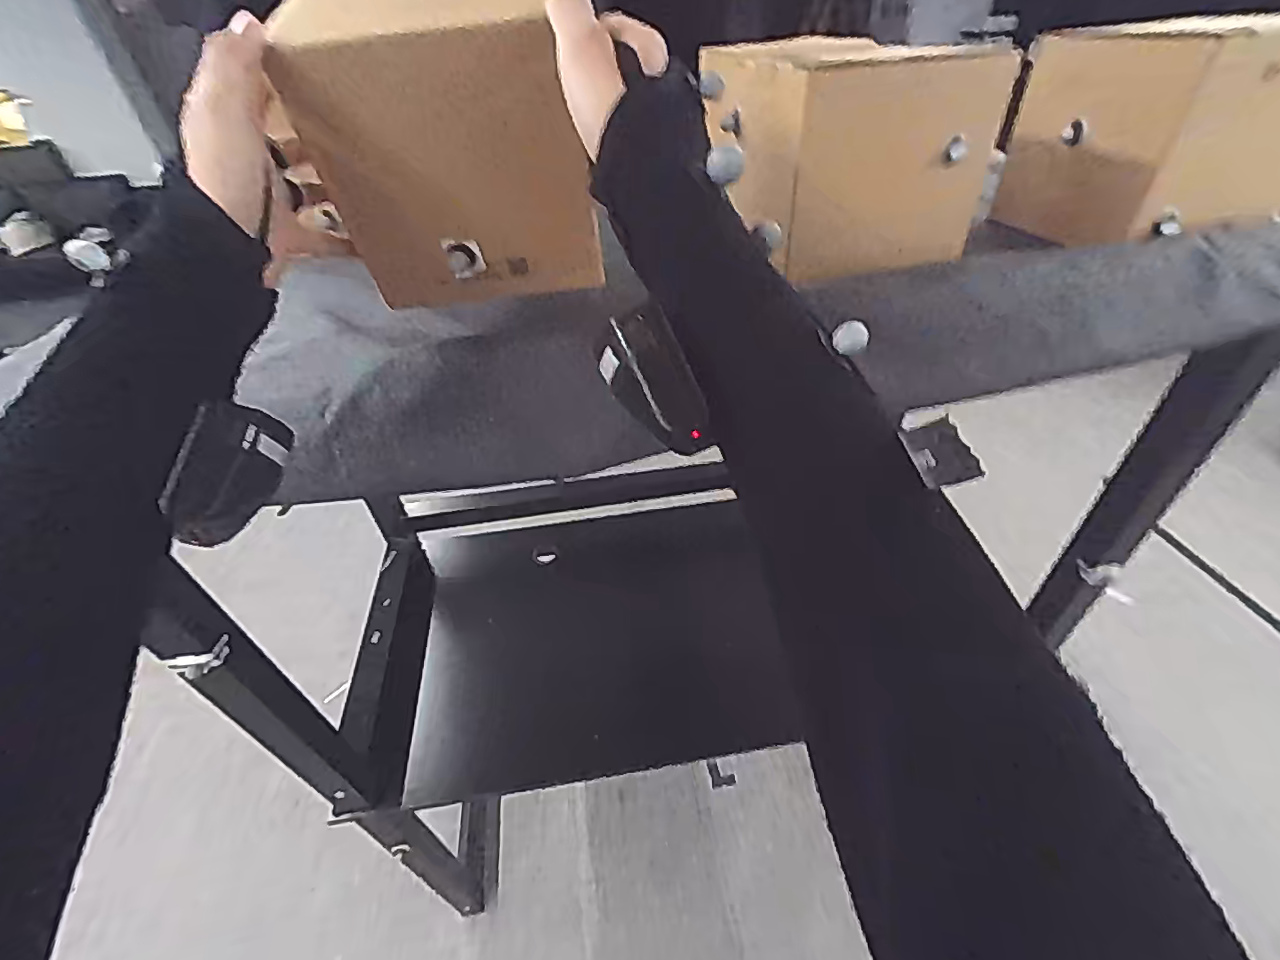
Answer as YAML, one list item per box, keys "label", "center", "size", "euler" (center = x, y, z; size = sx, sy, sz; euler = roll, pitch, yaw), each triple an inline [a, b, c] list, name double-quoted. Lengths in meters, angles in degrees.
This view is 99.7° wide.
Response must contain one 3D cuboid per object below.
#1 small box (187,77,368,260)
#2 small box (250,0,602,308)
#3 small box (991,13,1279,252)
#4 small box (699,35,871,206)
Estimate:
- label: "small box"
  center: [-0.387, -0.388, 0.669]
  size: [0.179, 0.176, 0.168]
  euler: [-9, 41, -7]
- label: "small box"
  center: [-0.122, -0.250, 0.387]
  size: [0.168, 0.176, 0.179]
  euler: [-8, 54, -1]
- label: "small box"
  center: [0.490, -0.329, 0.521]
  size: [0.168, 0.176, 0.179]
  euler: [-10, 40, -7]
- label: "small box"
  center: [0.180, -0.479, 0.727]
  size: [0.168, 0.176, 0.179]
  euler: [-9, 41, -5]
